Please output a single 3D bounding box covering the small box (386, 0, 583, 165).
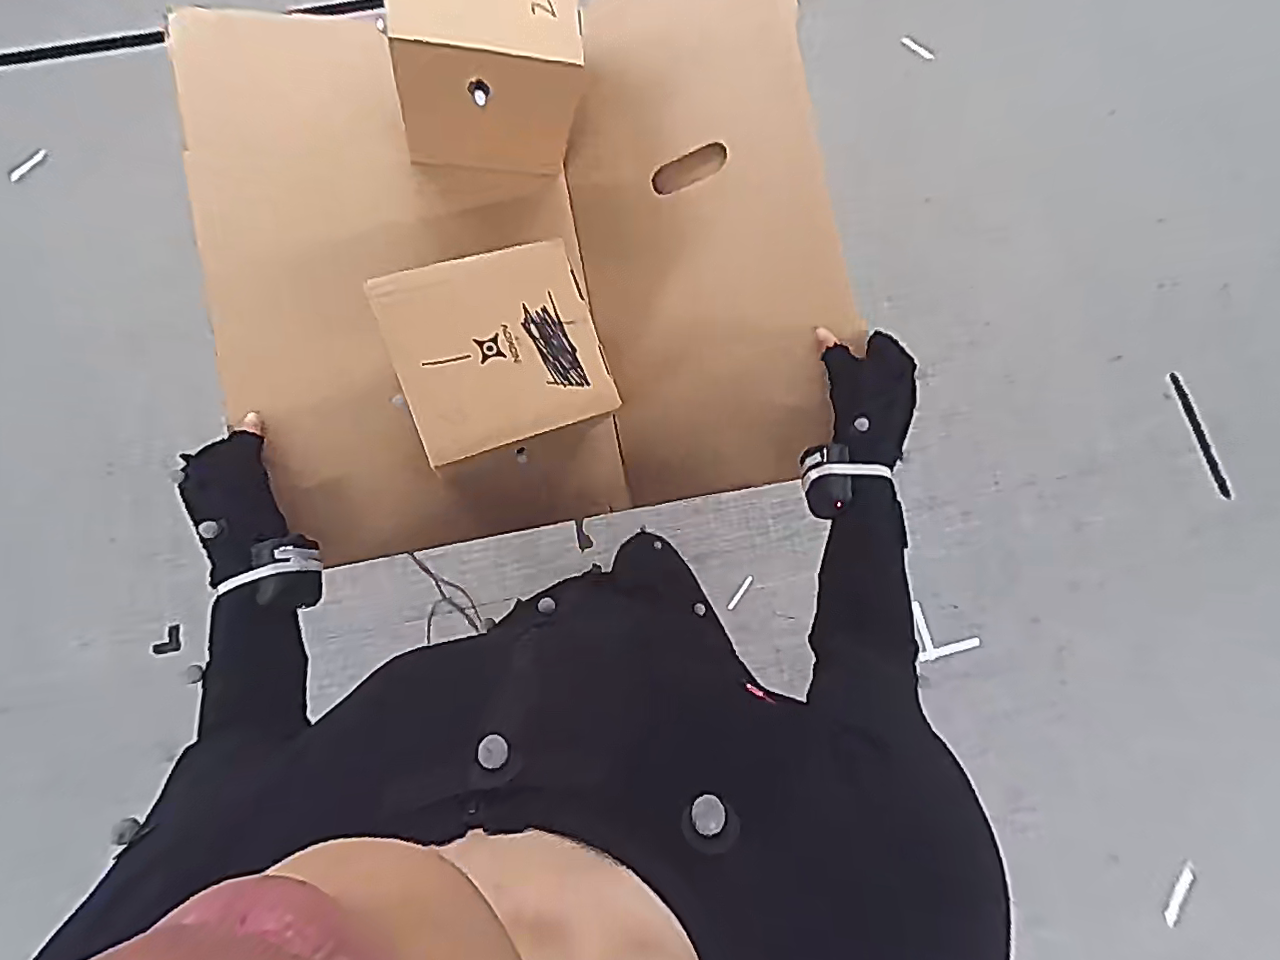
[{"bbox_3d":[-0.165,-0.469,0.577,0.179,0.176,0.168,-4,87,-17],"label":"small box"}]

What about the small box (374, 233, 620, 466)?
[{"bbox_3d":[-0.143,-0.121,0.555,0.179,0.176,0.168,-20,91,-16],"label":"small box"}]
